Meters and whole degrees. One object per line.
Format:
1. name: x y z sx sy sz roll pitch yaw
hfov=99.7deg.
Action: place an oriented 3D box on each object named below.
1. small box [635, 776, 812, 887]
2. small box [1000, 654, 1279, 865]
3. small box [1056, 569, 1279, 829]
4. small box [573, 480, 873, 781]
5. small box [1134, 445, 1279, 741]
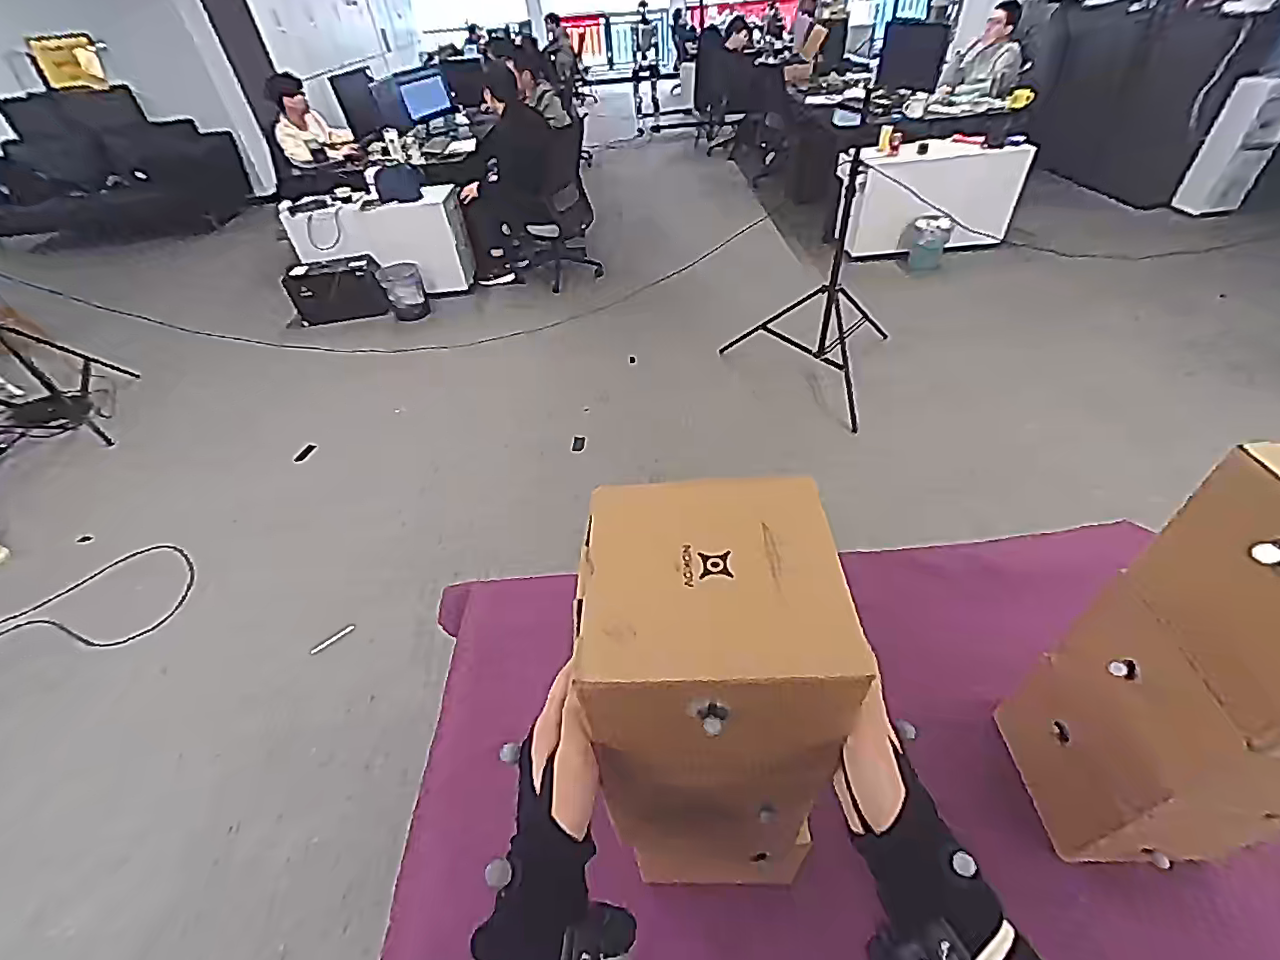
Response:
1. small box: 0.088 0.360 0.639 0.179 0.176 0.168 -3 42 4
2. small box: 0.564 0.322 0.629 0.168 0.176 0.179 -3 43 4
3. small box: 0.551 0.205 0.516 0.168 0.176 0.179 -2 42 5
4. small box: 0.054 0.119 0.421 0.179 0.176 0.168 -3 43 3
5. small box: 0.541 0.089 0.400 0.168 0.176 0.179 -2 42 5
